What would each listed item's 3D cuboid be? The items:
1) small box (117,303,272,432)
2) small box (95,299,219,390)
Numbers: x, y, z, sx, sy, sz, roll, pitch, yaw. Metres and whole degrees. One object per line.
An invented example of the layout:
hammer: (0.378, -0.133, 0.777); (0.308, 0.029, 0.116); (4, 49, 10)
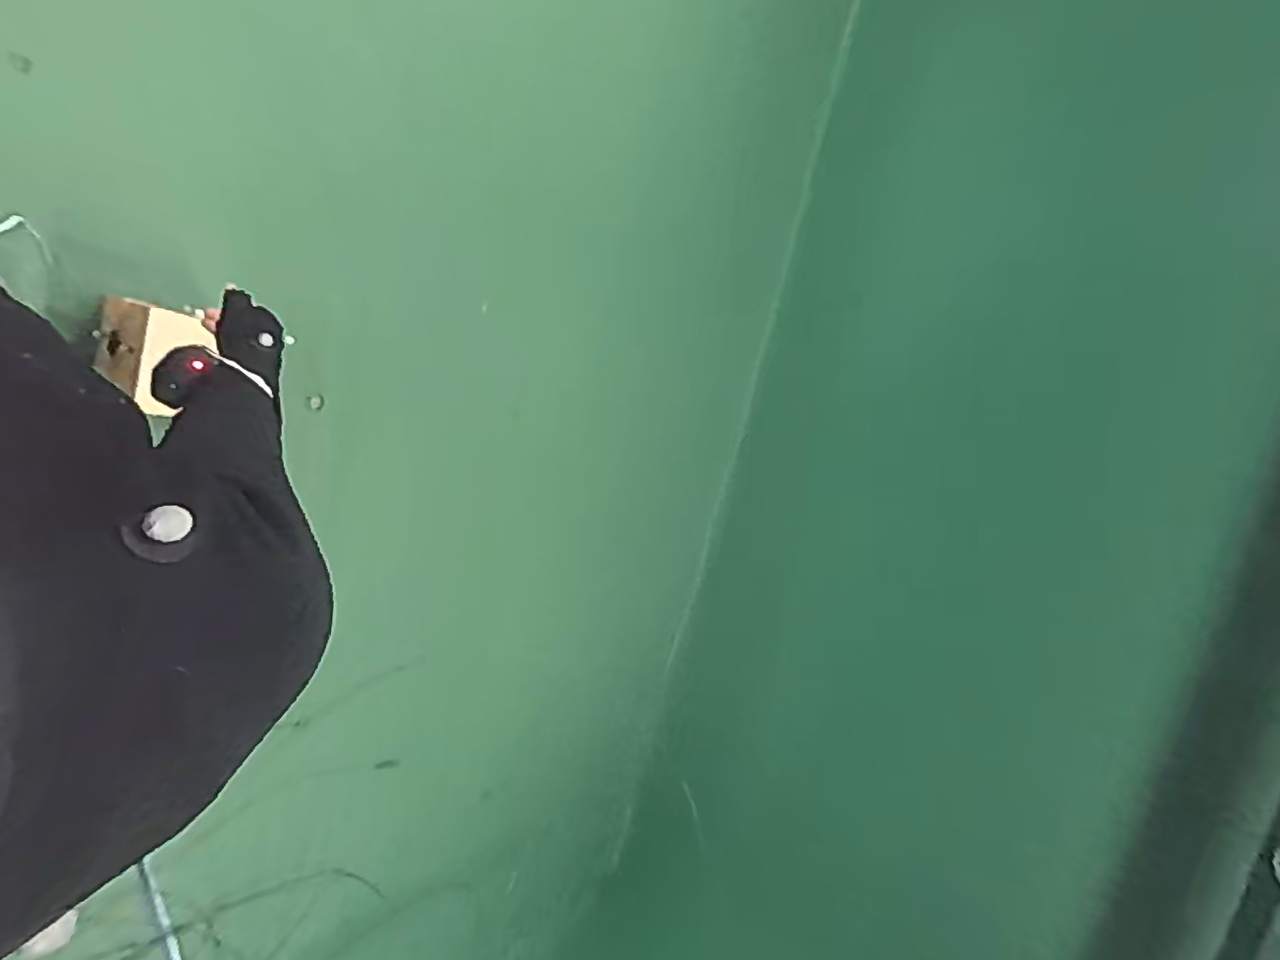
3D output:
small box: (-0.812, -0.203, 0.982); (0.168, 0.176, 0.179); (13, 95, -55)
small box: (-0.939, -0.253, 1.078); (0.179, 0.176, 0.168); (9, 97, -53)
